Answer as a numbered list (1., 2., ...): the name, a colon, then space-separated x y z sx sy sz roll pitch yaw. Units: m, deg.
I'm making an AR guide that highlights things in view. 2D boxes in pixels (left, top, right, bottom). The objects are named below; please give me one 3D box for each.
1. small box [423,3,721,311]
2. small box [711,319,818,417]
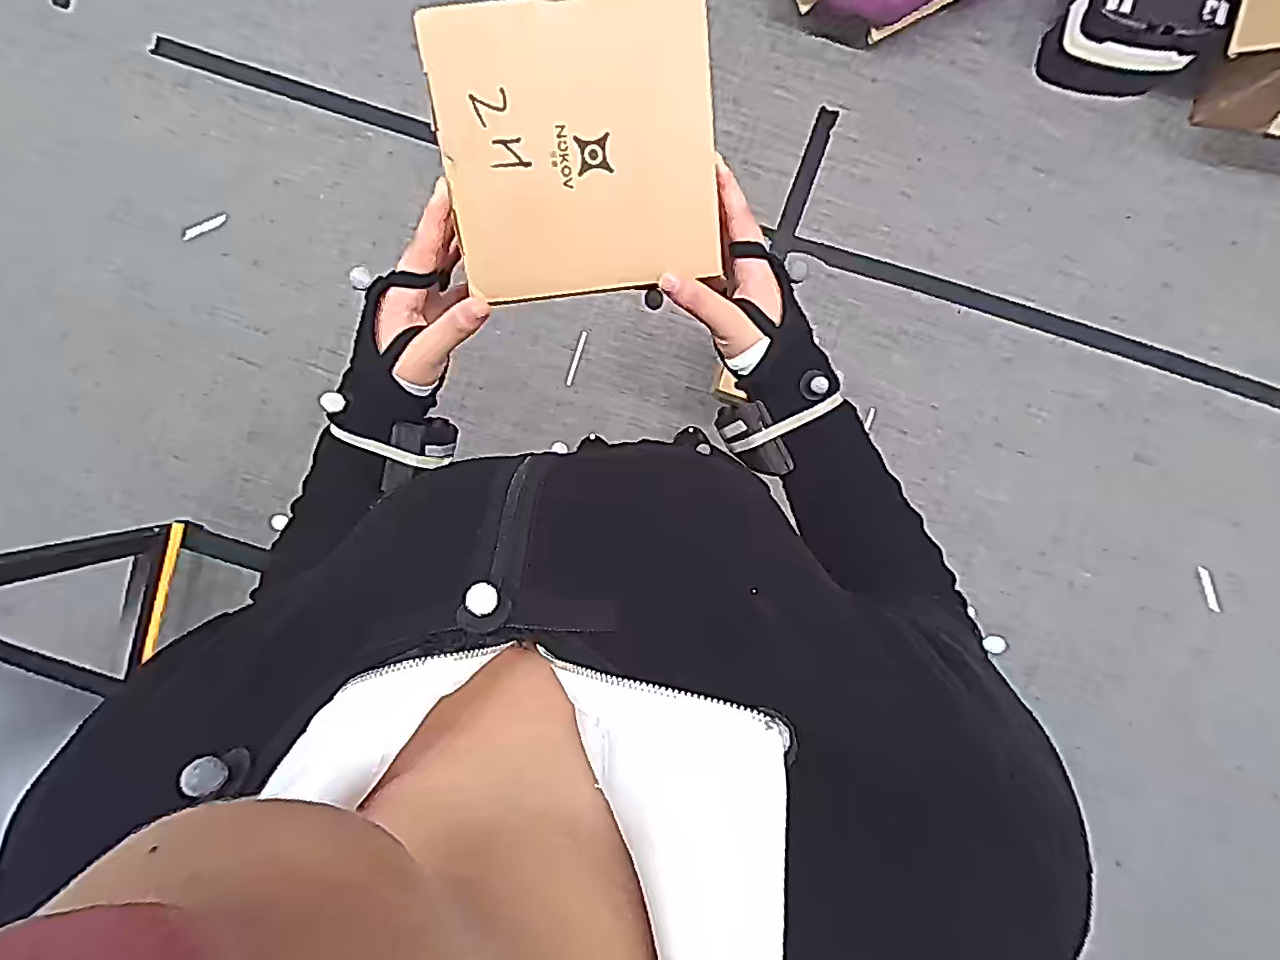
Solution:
1. small box: -0.043 -0.227 0.421 0.179 0.176 0.168 -7 108 -2
2. small box: 0.268 -0.242 1.213 0.179 0.176 0.168 18 96 0
